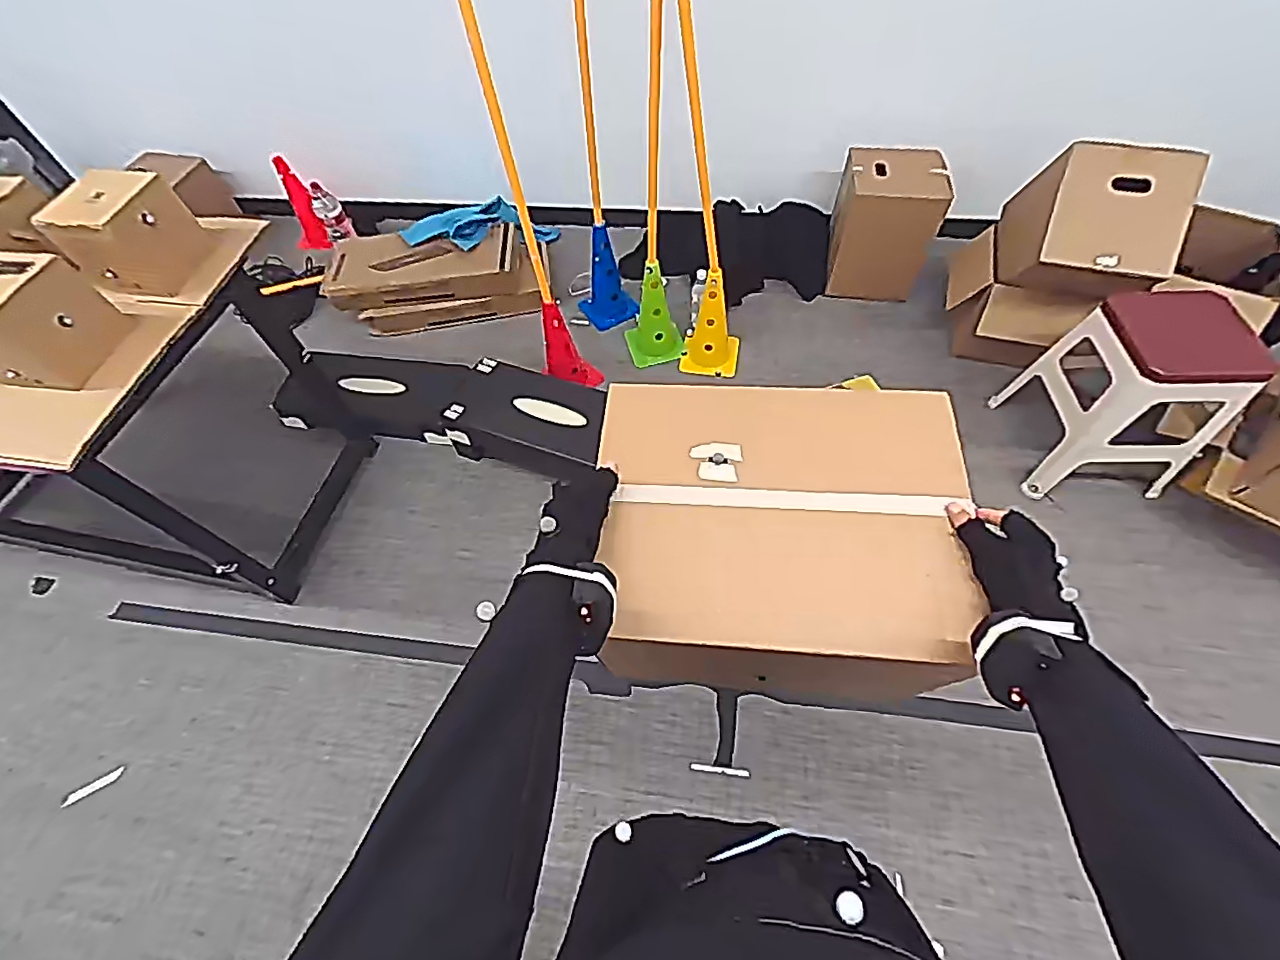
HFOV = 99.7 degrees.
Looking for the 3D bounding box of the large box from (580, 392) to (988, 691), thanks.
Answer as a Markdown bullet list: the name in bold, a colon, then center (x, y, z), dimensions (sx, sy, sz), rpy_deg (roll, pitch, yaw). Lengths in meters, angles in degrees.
- **large box**: center (0.163, 0.095, 0.731), dimensions (0.408, 0.320, 0.320), rpy_deg (2, 62, 8)
